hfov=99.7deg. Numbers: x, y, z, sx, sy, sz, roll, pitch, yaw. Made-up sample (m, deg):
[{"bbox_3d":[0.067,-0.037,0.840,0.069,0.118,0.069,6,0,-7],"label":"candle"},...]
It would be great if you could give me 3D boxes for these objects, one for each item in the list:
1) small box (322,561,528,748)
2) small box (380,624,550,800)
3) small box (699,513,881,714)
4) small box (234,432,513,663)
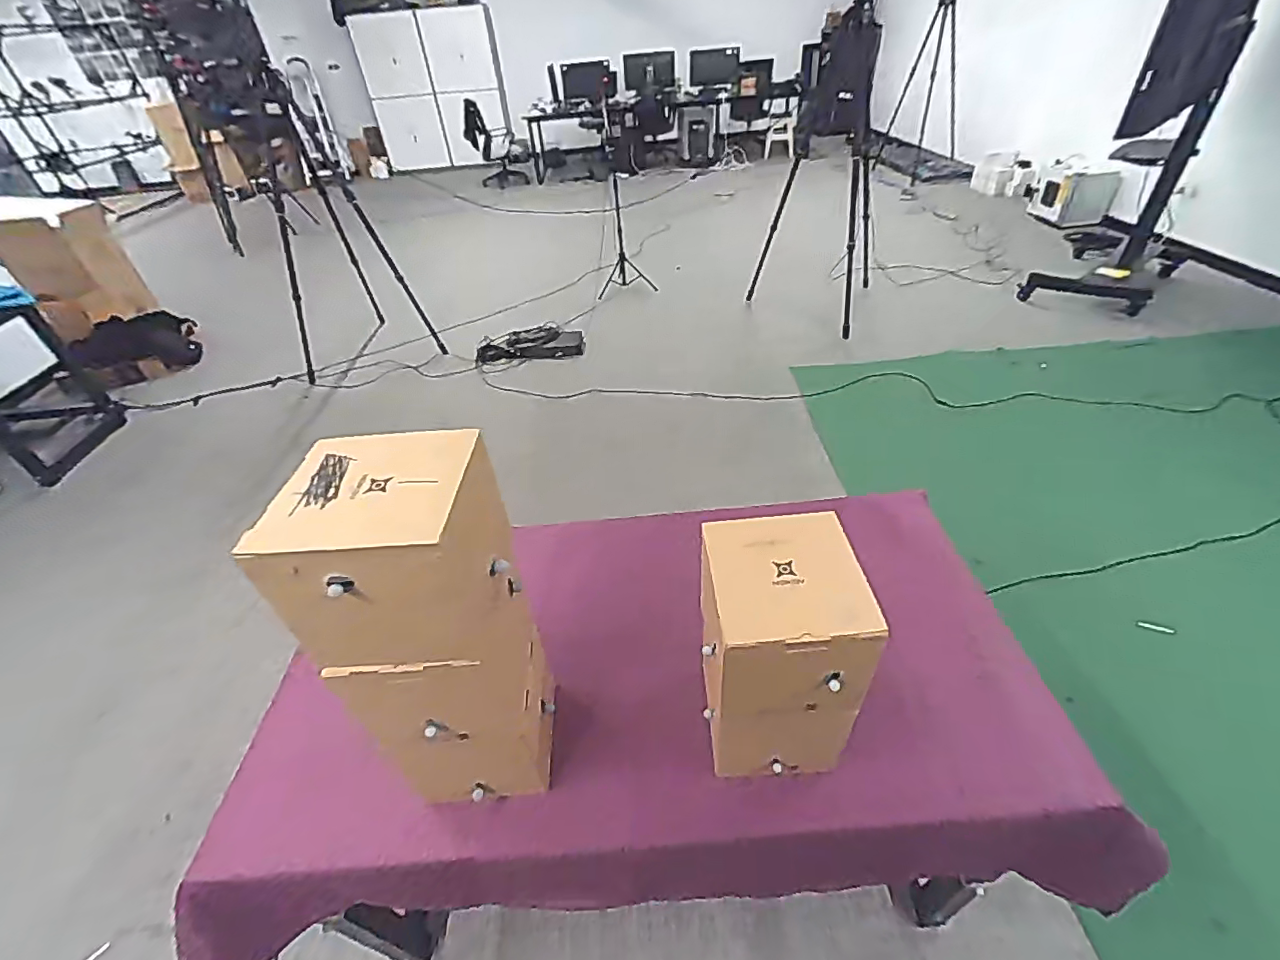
[{"bbox_3d":[-0.237,0.196,0.655,0.168,0.176,0.179,-5,40,1],"label":"small box"},{"bbox_3d":[-0.226,0.325,0.758,0.179,0.176,0.168,-5,40,-1],"label":"small box"},{"bbox_3d":[0.164,0.164,0.651,0.168,0.176,0.179,-5,40,0],"label":"small box"},{"bbox_3d":[-0.244,0.070,0.550,0.179,0.176,0.168,-3,40,1],"label":"small box"}]
